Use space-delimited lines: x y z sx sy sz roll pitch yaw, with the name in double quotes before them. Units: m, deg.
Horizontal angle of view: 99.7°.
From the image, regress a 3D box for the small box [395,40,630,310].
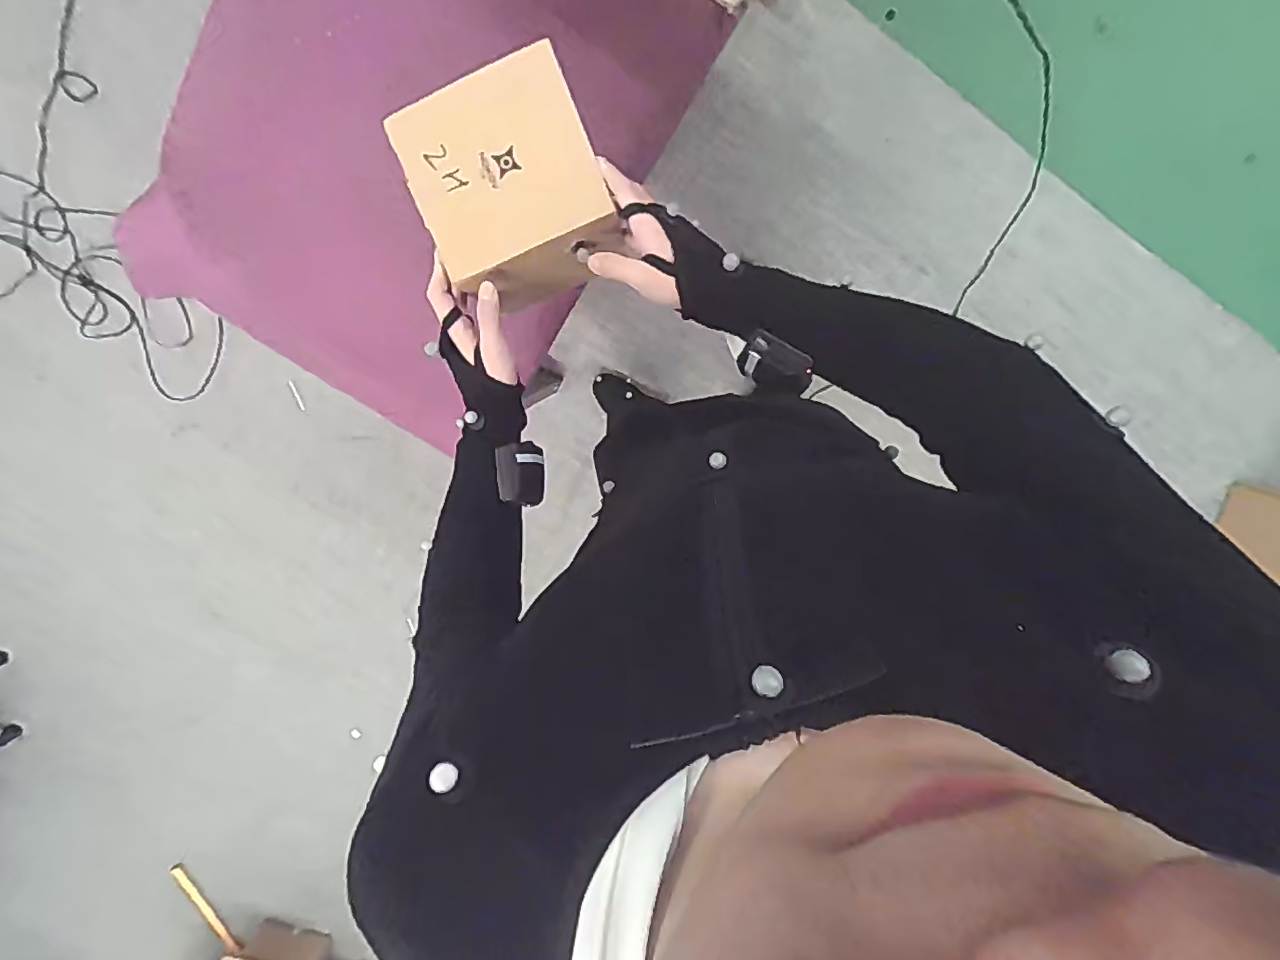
"small box" -0.117 -0.303 0.581 0.179 0.176 0.168 -21 95 6
